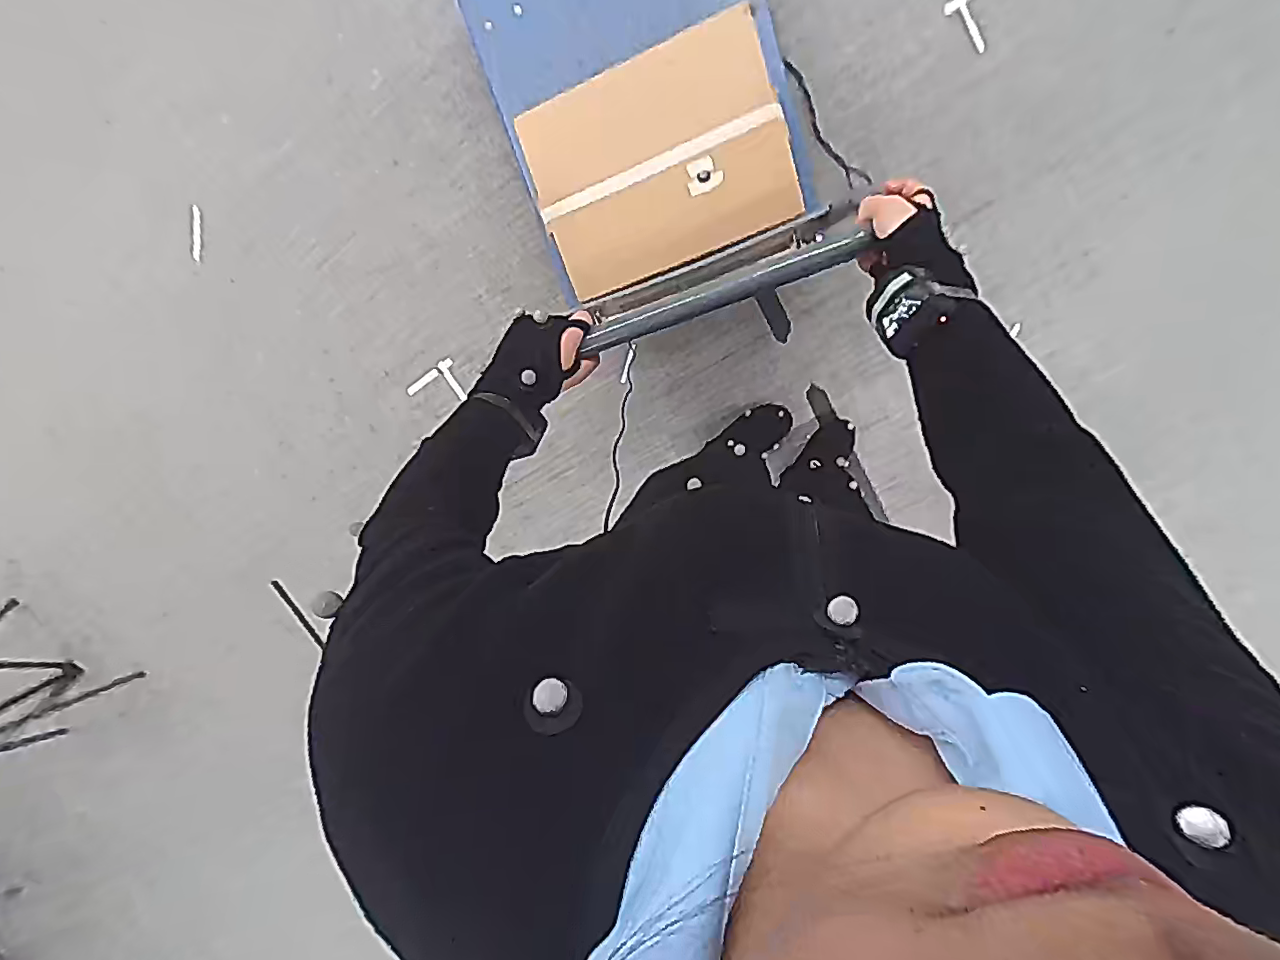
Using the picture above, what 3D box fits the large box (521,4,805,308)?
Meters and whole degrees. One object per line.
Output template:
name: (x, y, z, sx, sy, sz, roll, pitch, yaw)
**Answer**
large box: (0.054, -0.554, 1.027, 0.408, 0.320, 0.320, -18, 103, 13)
